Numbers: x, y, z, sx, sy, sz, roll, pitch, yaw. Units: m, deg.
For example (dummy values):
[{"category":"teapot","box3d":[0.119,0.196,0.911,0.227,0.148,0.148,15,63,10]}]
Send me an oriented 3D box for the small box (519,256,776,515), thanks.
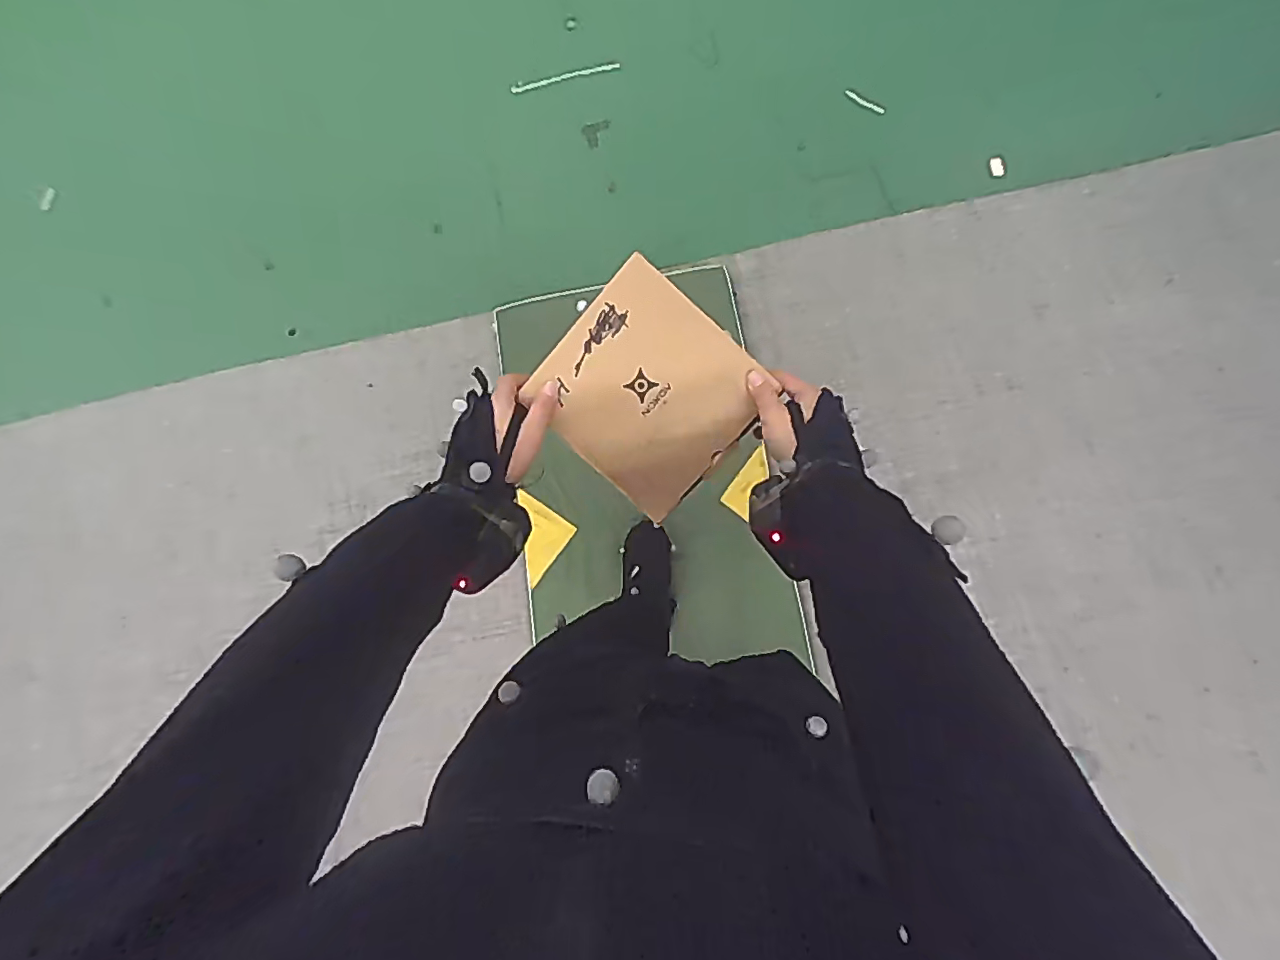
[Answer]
[{"category":"small box","box3d":[0.011,-0.094,0.562,0.179,0.176,0.168,42,98,-3]}]
